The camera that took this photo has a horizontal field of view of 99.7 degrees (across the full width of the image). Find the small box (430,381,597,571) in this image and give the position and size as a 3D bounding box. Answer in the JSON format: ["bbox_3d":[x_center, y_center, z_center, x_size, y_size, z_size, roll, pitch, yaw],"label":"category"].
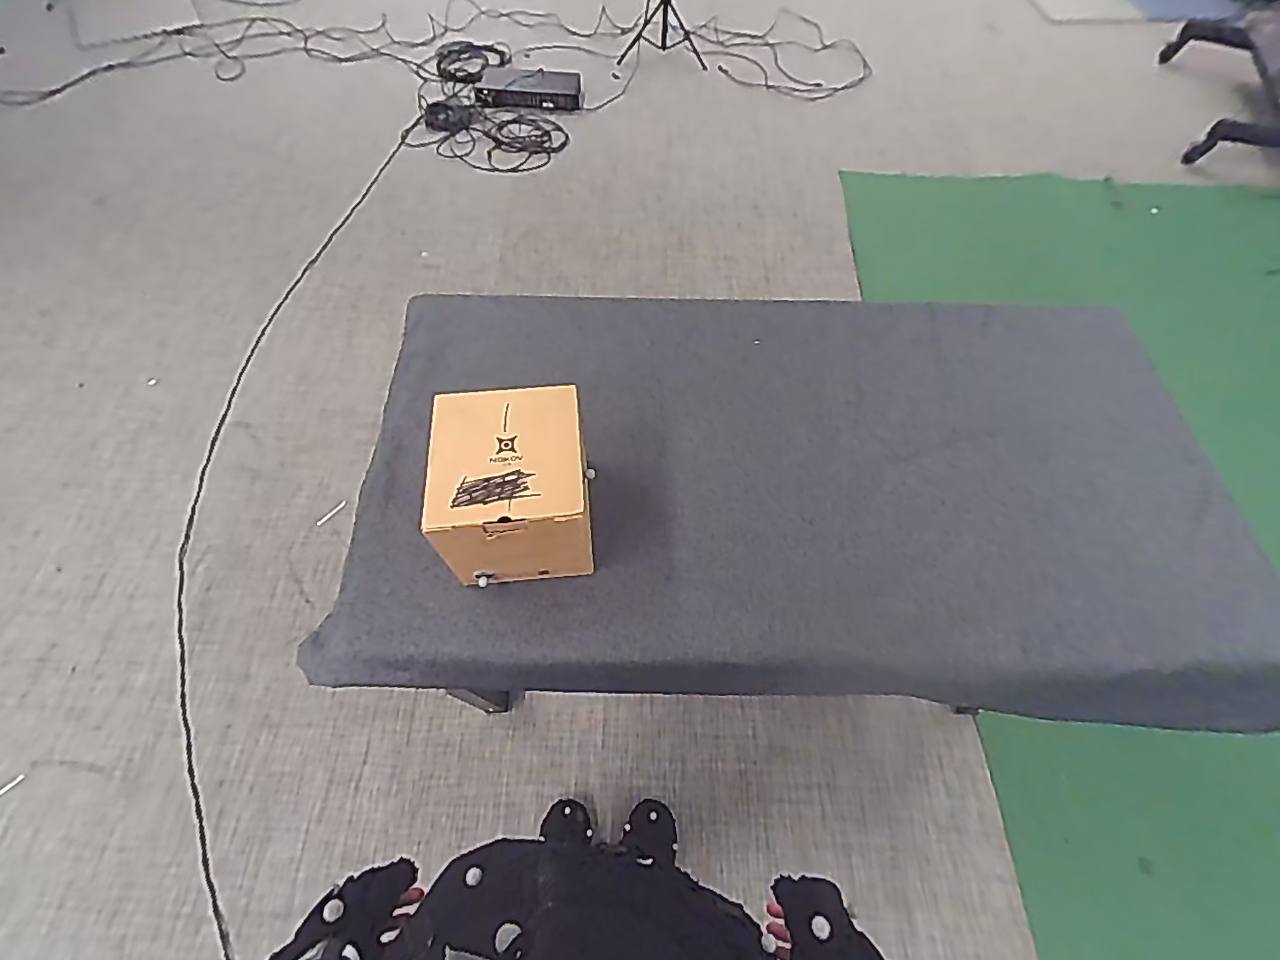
[{"bbox_3d":[-0.143,0.004,0.664,0.168,0.176,0.179,-5,60,-4],"label":"small box"}]
